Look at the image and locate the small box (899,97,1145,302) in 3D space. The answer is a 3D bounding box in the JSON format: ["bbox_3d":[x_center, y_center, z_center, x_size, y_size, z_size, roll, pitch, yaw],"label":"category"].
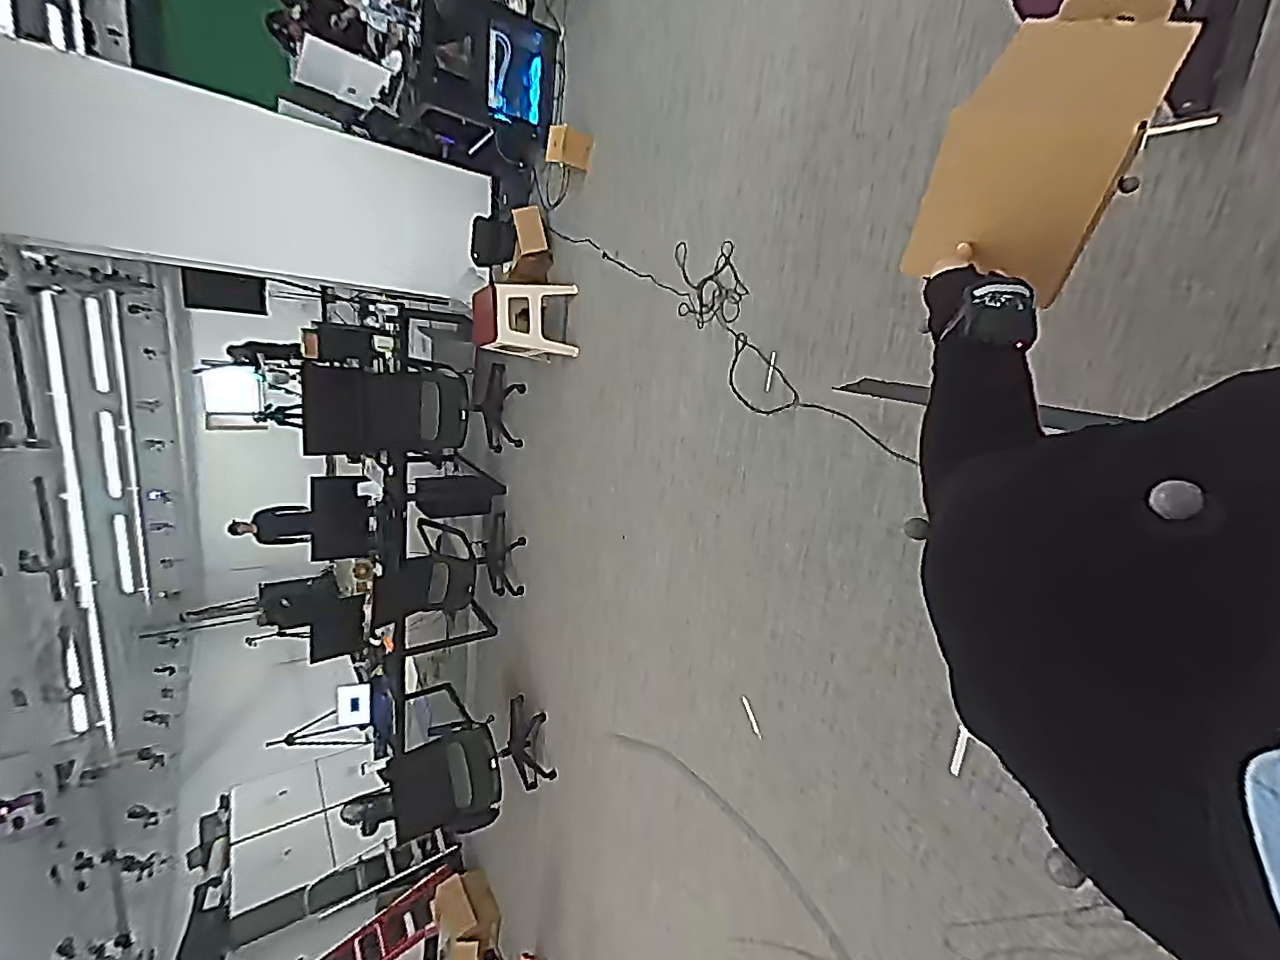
[{"bbox_3d":[0.442,-0.325,0.642,0.168,0.176,0.179,30,124,28],"label":"small box"}]
